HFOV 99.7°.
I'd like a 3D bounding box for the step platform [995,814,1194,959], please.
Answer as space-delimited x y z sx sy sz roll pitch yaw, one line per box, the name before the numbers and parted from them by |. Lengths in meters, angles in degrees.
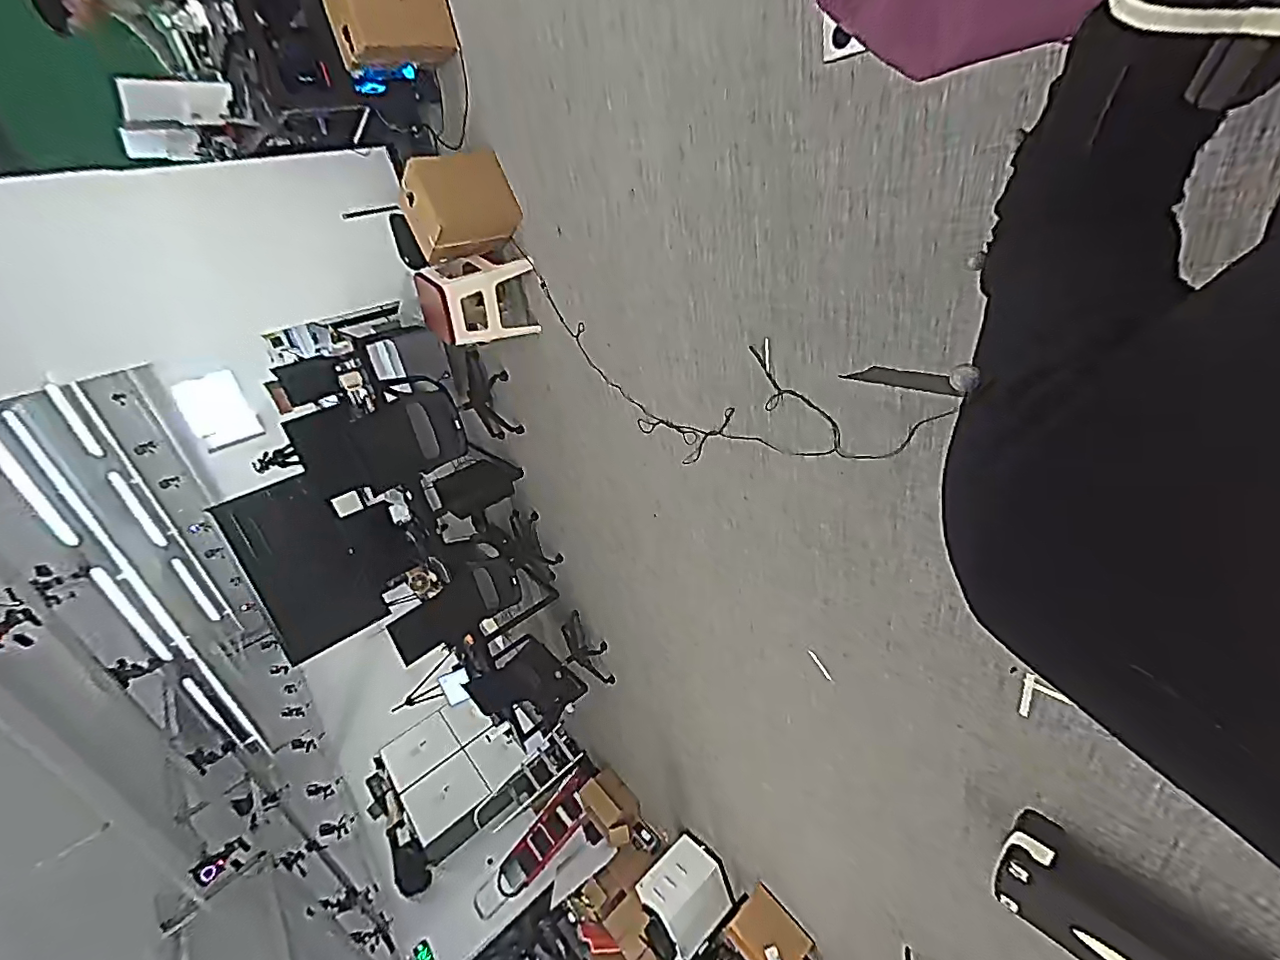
step platform | 1.431 1.333 1.561 0.684 0.204 0.286 22 133 45
